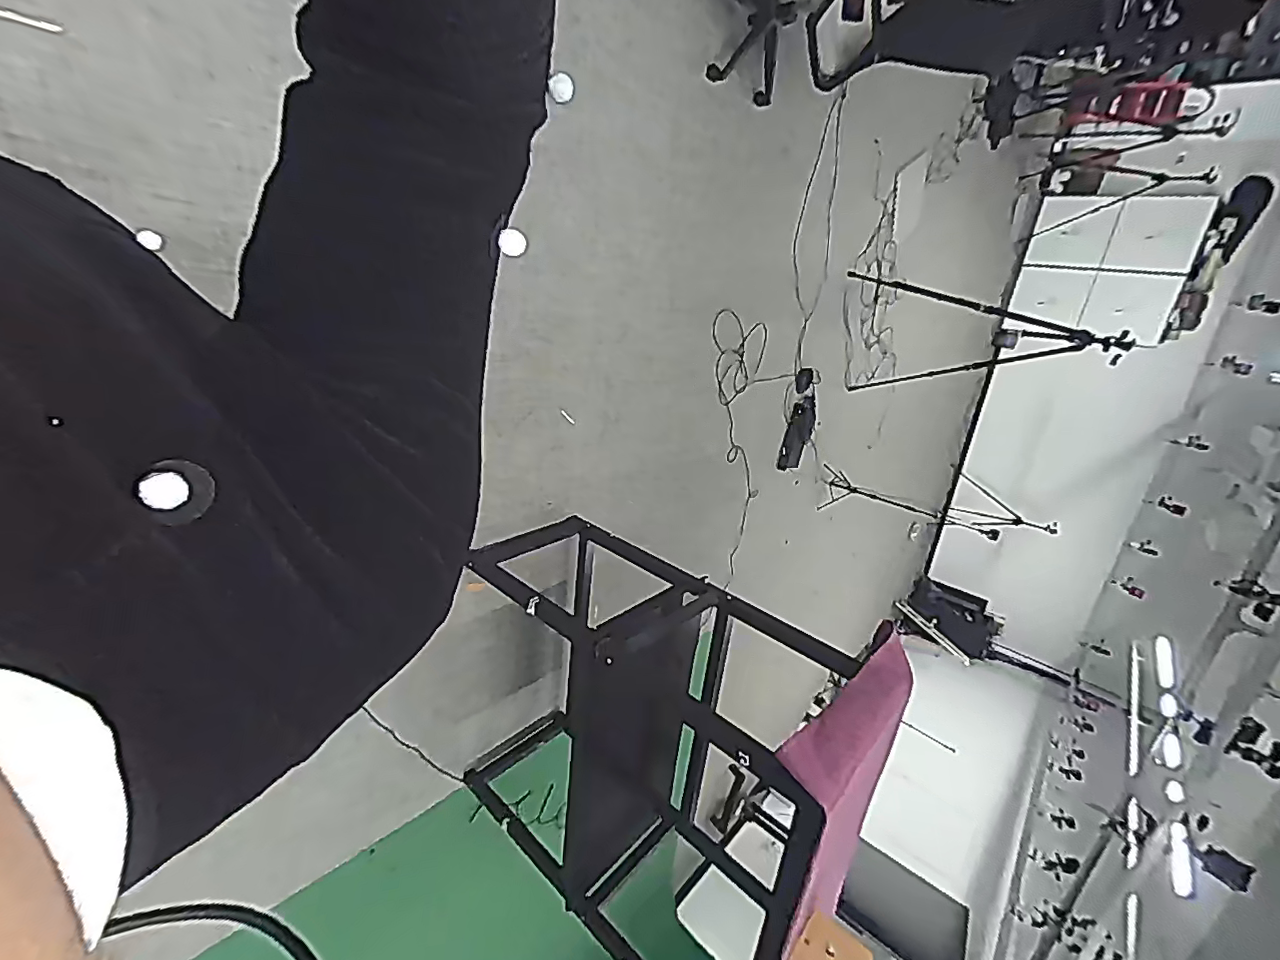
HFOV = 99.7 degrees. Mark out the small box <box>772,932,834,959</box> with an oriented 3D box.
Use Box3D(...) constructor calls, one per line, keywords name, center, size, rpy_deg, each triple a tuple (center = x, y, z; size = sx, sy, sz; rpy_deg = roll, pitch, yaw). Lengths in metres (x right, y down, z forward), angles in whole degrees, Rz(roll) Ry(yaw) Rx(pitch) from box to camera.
Box3D(name="small box", center=(0.421, 1.350, 1.418), size=(0.168, 0.176, 0.179), rpy_deg=(-13, 117, -49))
